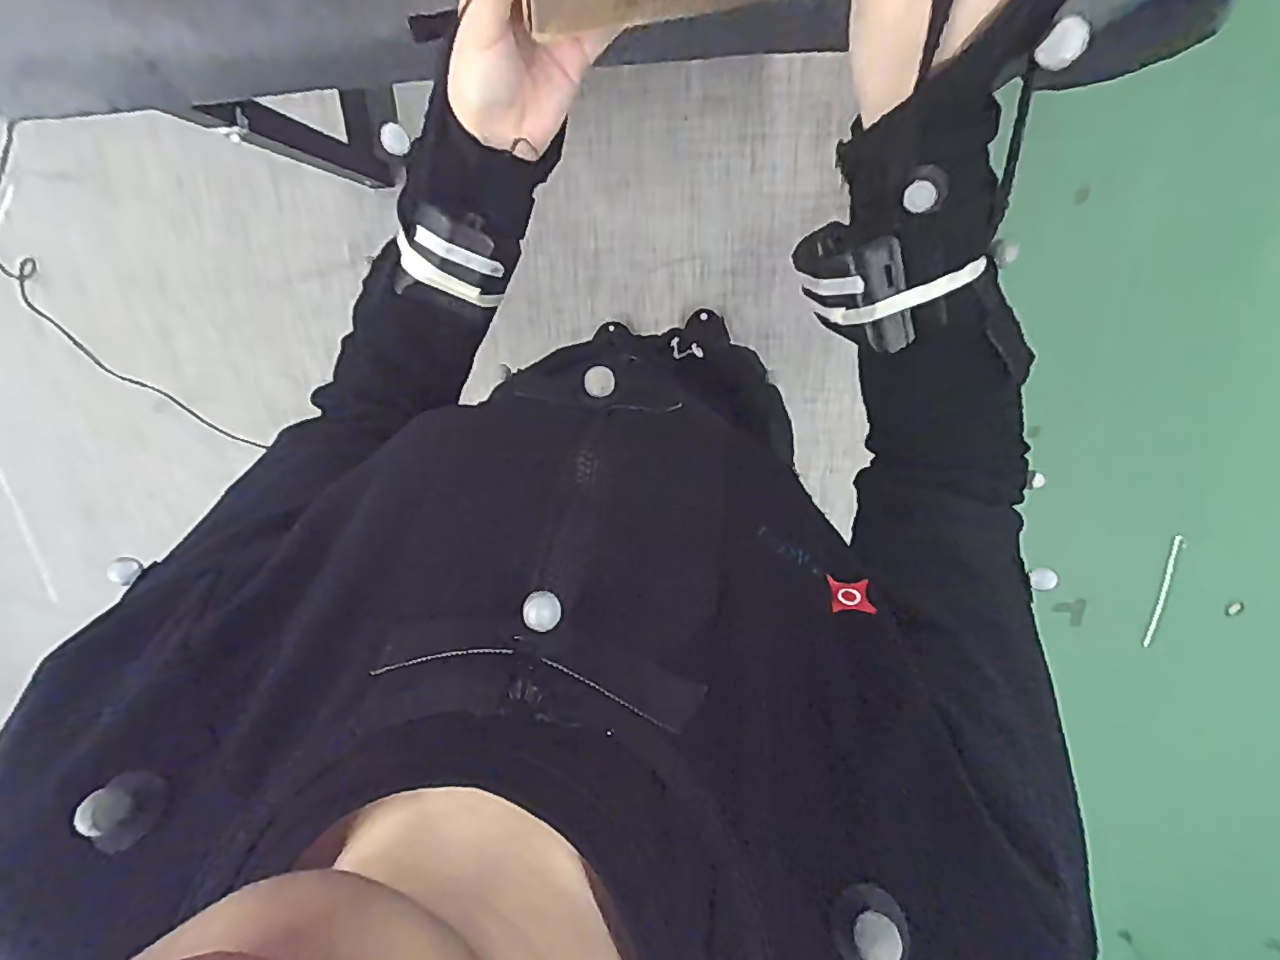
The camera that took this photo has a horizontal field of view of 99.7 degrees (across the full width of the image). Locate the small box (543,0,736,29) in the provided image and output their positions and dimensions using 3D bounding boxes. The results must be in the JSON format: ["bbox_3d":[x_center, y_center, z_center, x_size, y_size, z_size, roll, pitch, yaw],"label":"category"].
[{"bbox_3d":[0.022,-0.296,0.173,0.168,0.176,0.179,-14,112,-4],"label":"small box"}]
